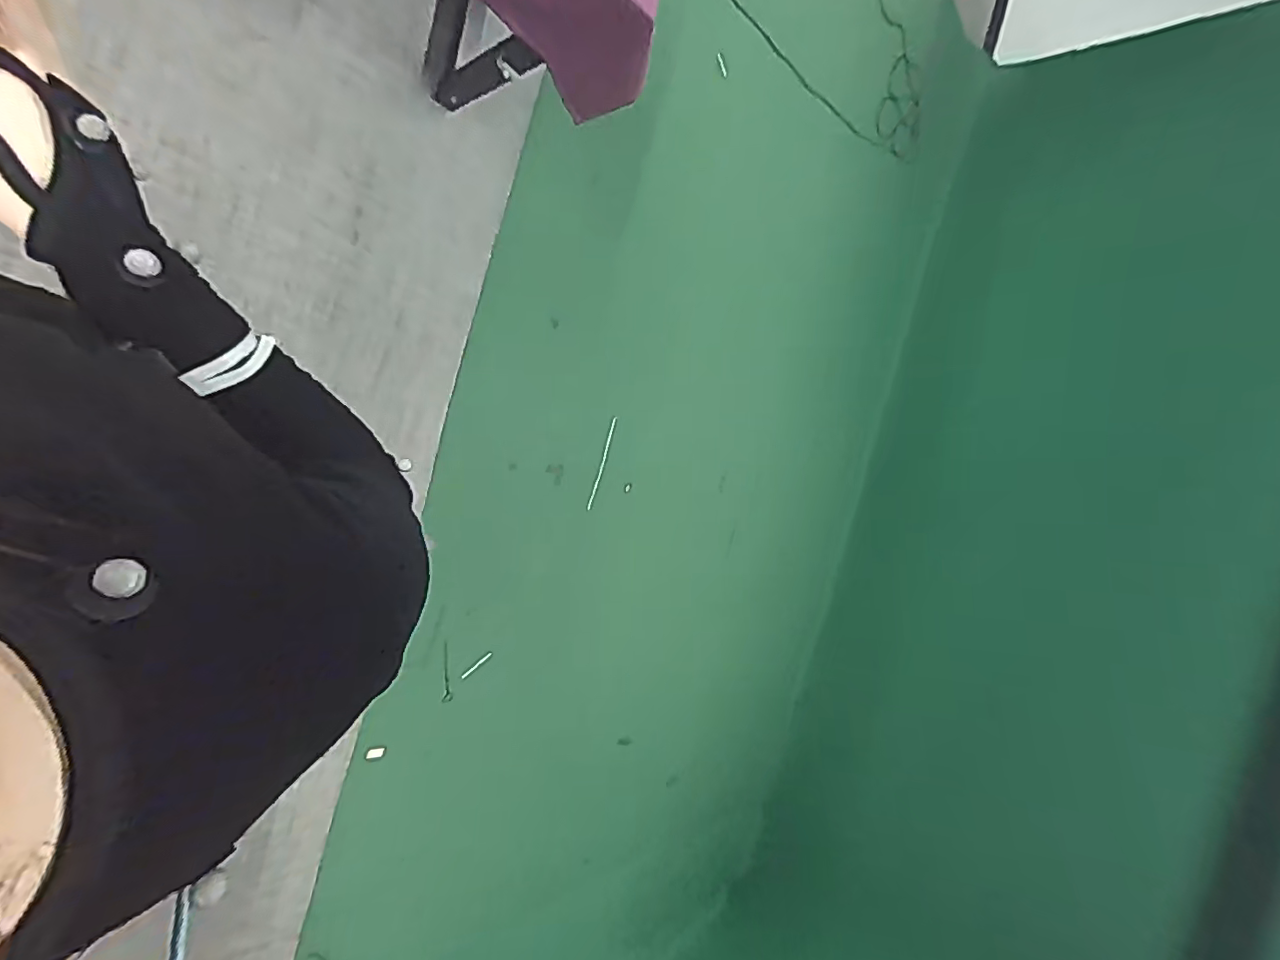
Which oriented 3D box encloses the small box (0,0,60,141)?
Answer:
[{"bbox_3d":[-0.406,-0.296,0.240,0.168,0.176,0.179,-4,137,-34],"label":"small box"}]
